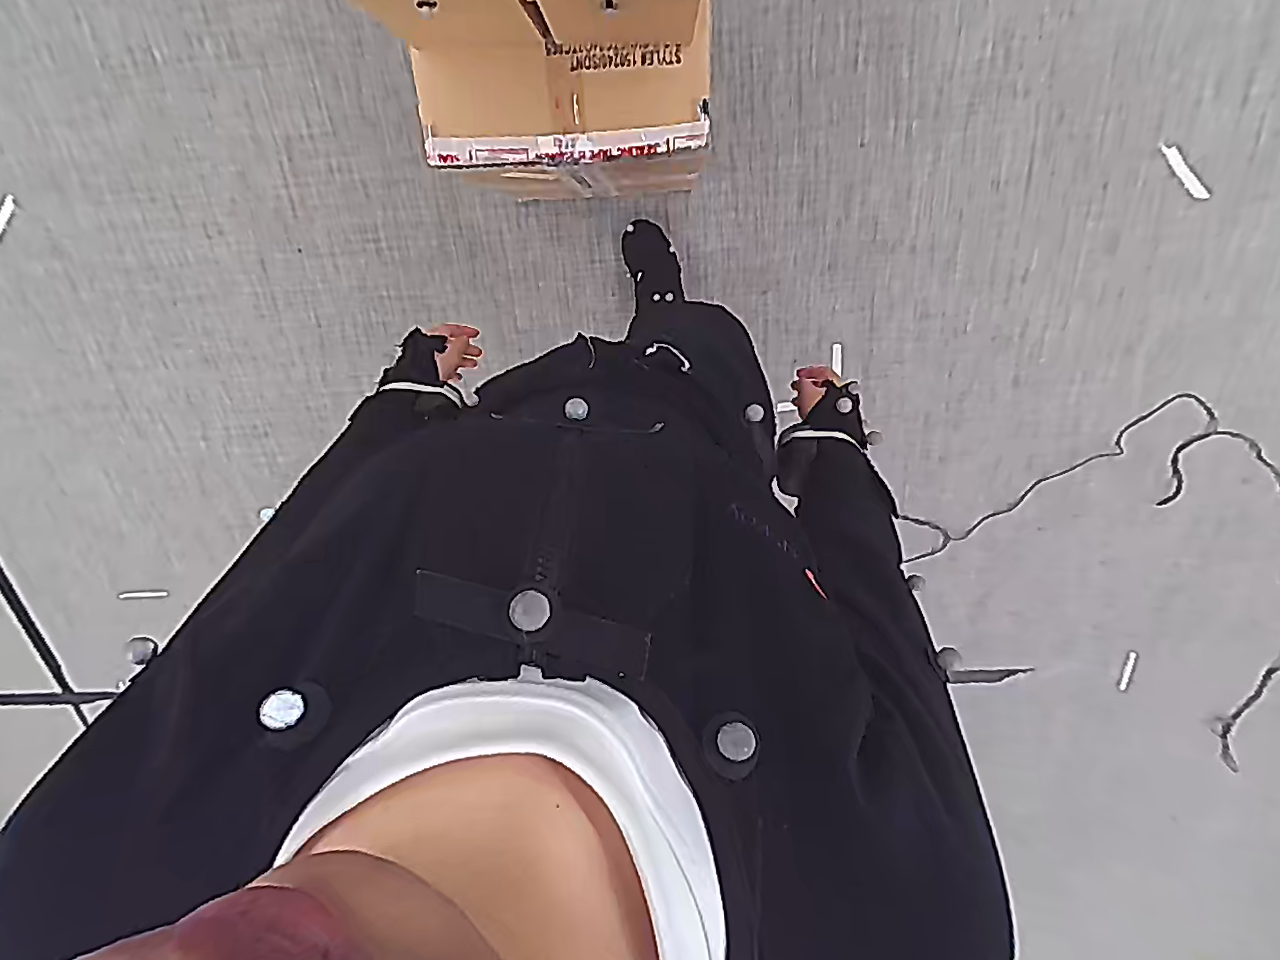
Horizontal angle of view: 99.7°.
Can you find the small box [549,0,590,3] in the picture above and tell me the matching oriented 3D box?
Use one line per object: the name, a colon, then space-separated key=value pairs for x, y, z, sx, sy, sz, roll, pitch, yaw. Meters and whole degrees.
small box: x=-0.033 y=-0.519 z=0.431 sx=0.168 sy=0.176 sz=0.179 roll=-2 pitch=112 yaw=2
